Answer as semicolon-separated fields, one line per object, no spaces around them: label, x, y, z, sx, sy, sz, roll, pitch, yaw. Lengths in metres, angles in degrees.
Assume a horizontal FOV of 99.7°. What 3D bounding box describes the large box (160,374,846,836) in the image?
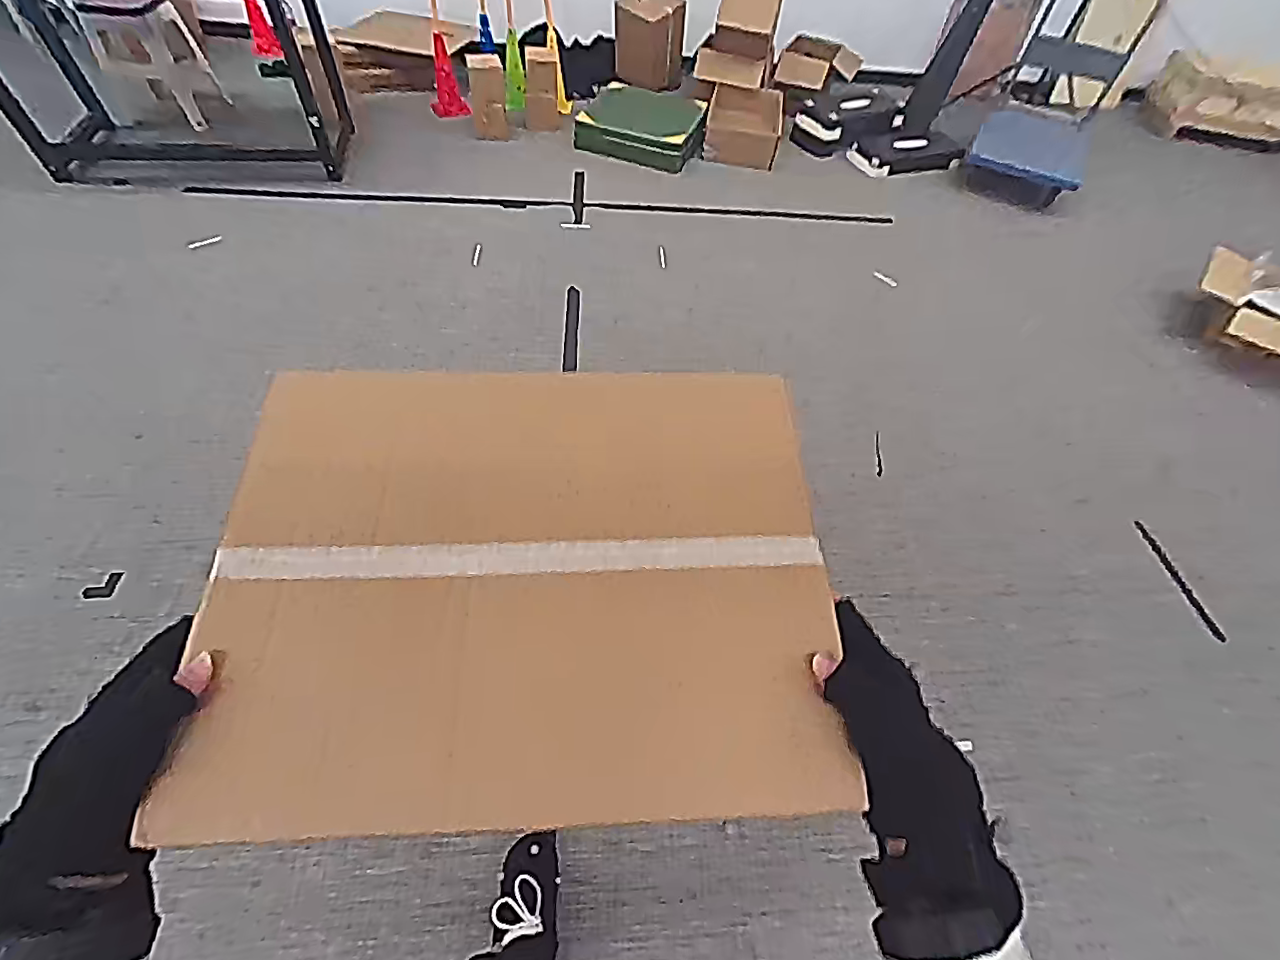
large box;-0.084;0.117;0.510;0.408;0.320;0.320;-1;64;-4
